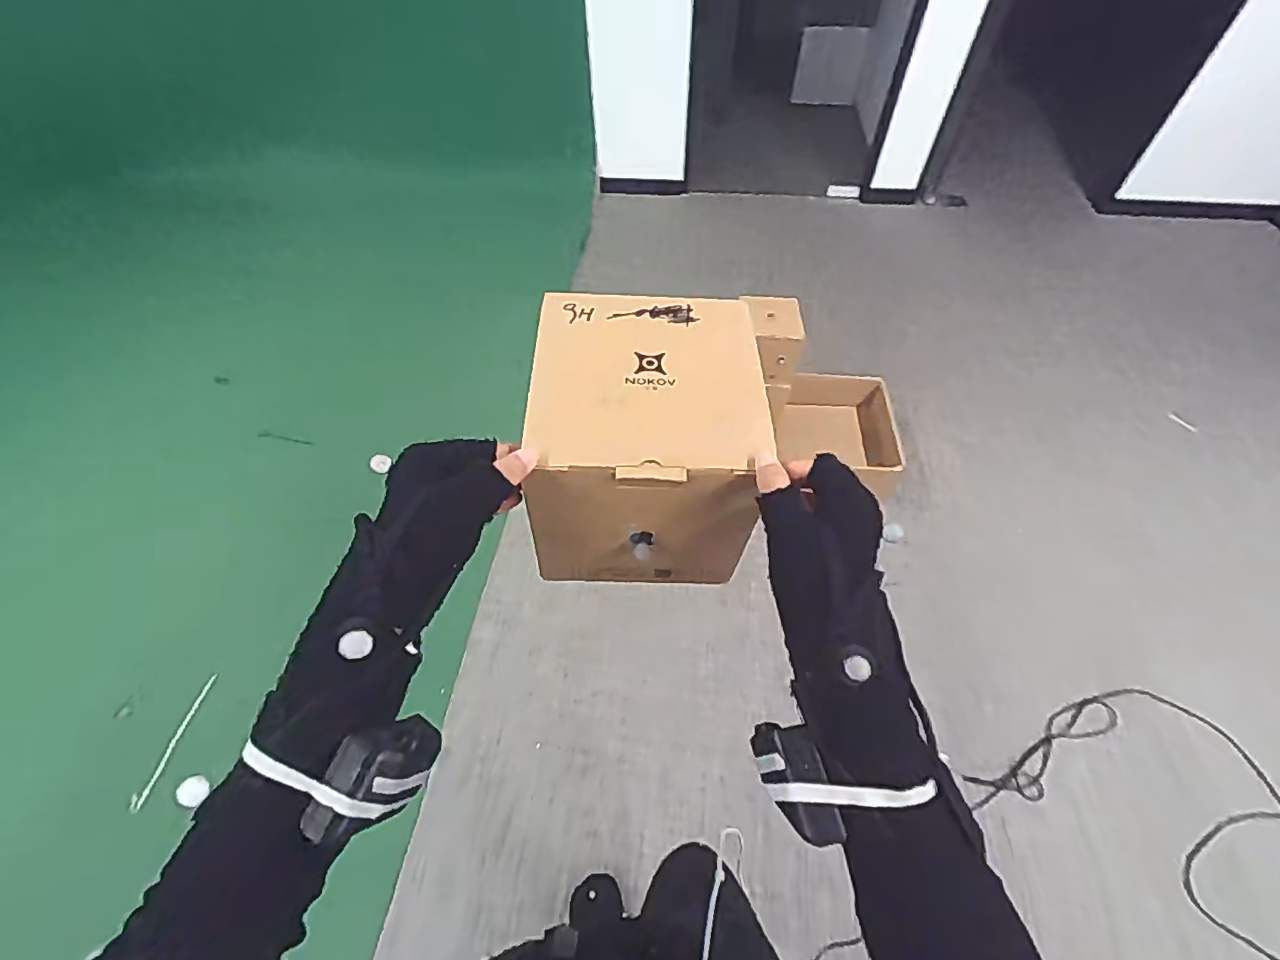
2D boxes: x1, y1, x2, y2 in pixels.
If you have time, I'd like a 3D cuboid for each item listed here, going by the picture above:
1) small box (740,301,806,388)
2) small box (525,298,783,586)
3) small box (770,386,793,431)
[{"bbox_3d":[0.355,-0.375,1.511,0.168,0.176,0.179,4,52,1],"label":"small box"},{"bbox_3d":[0.007,-0.024,0.448,0.168,0.176,0.179,3,55,-3],"label":"small box"},{"bbox_3d":[0.356,-0.271,1.636,0.168,0.176,0.179,5,53,3],"label":"small box"}]
